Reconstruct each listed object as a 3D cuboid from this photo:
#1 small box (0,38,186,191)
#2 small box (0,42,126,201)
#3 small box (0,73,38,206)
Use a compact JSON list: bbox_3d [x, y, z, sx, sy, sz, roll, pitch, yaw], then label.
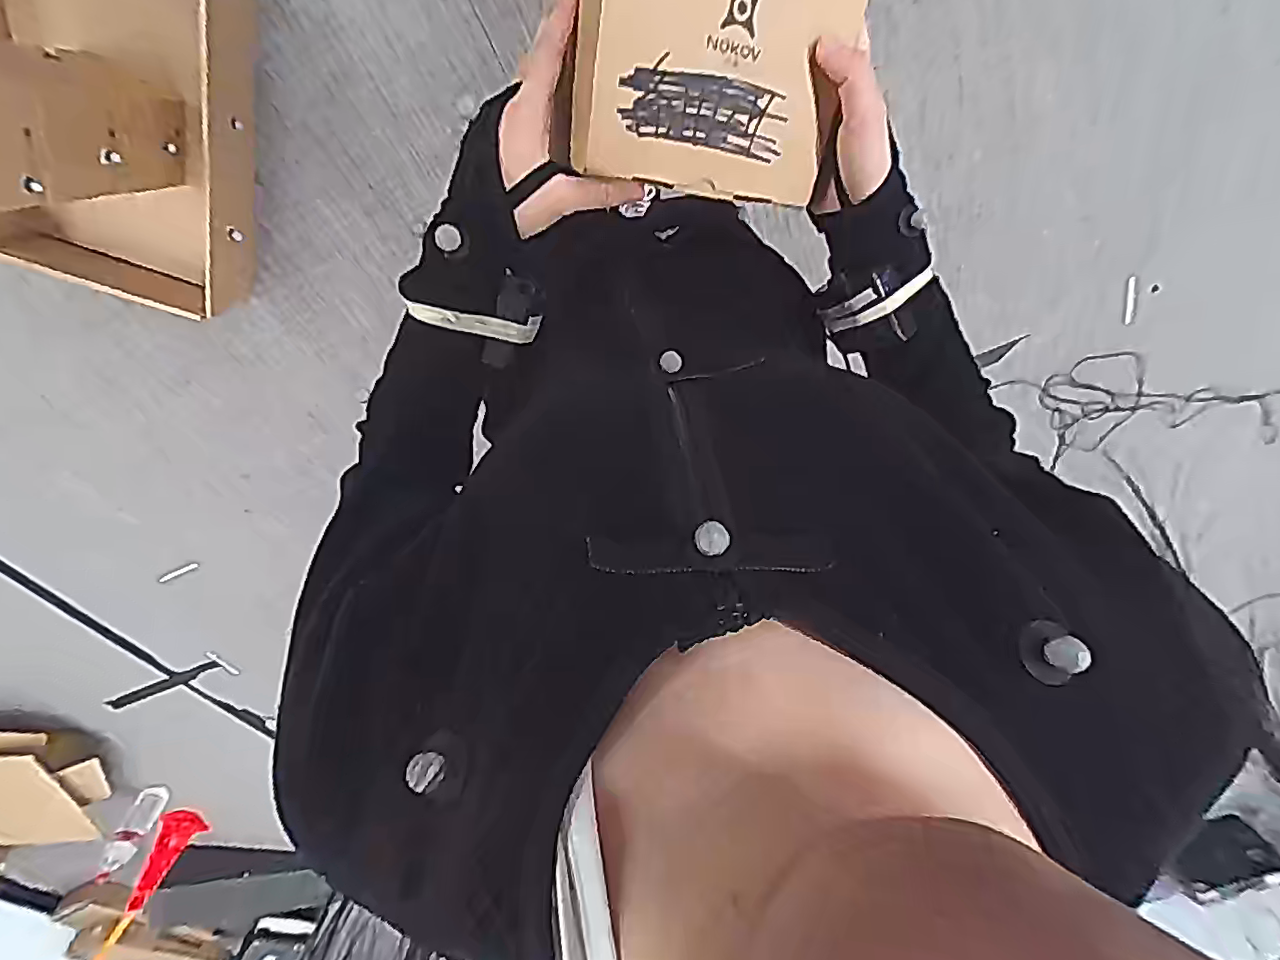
[{"bbox_3d":[-0.985,-0.658,0.988,0.179,0.176,0.168,20,120,-17],"label":"small box"},{"bbox_3d":[-0.974,-0.570,0.853,0.179,0.176,0.168,18,121,-17],"label":"small box"},{"bbox_3d":[-0.967,-0.479,0.716,0.179,0.176,0.168,18,121,-15],"label":"small box"}]
